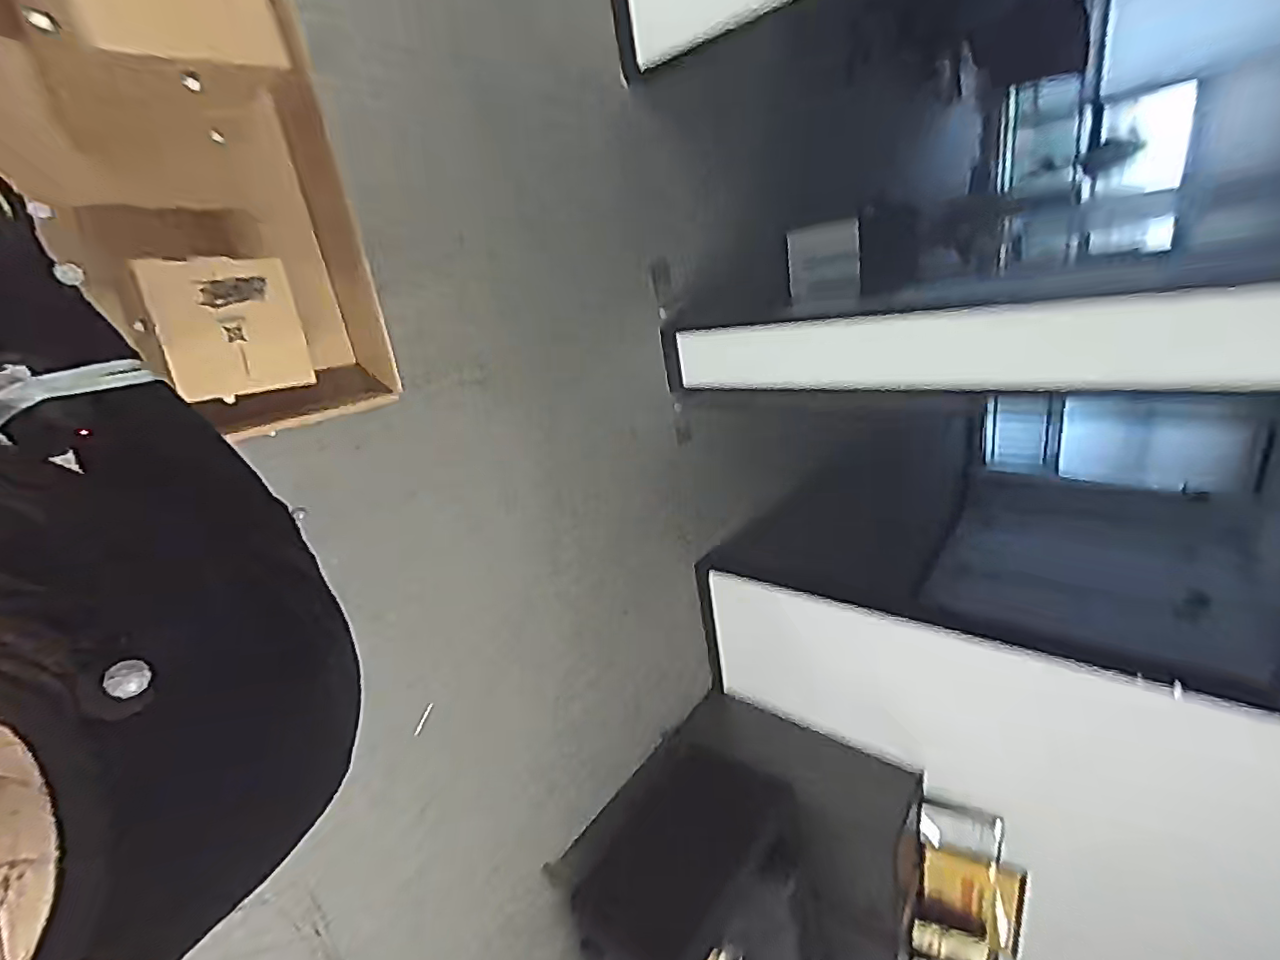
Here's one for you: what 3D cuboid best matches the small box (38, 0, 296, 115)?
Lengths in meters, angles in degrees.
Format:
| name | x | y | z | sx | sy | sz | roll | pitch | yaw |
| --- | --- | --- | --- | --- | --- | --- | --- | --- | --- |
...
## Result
| name | x | y | z | sx | sy | sz | roll | pitch | yaw |
| --- | --- | --- | --- | --- | --- | --- | --- | --- | --- |
| small box | -0.511 | -0.506 | 0.569 | 0.179 | 0.176 | 0.168 | -33 | 122 | -42 |
